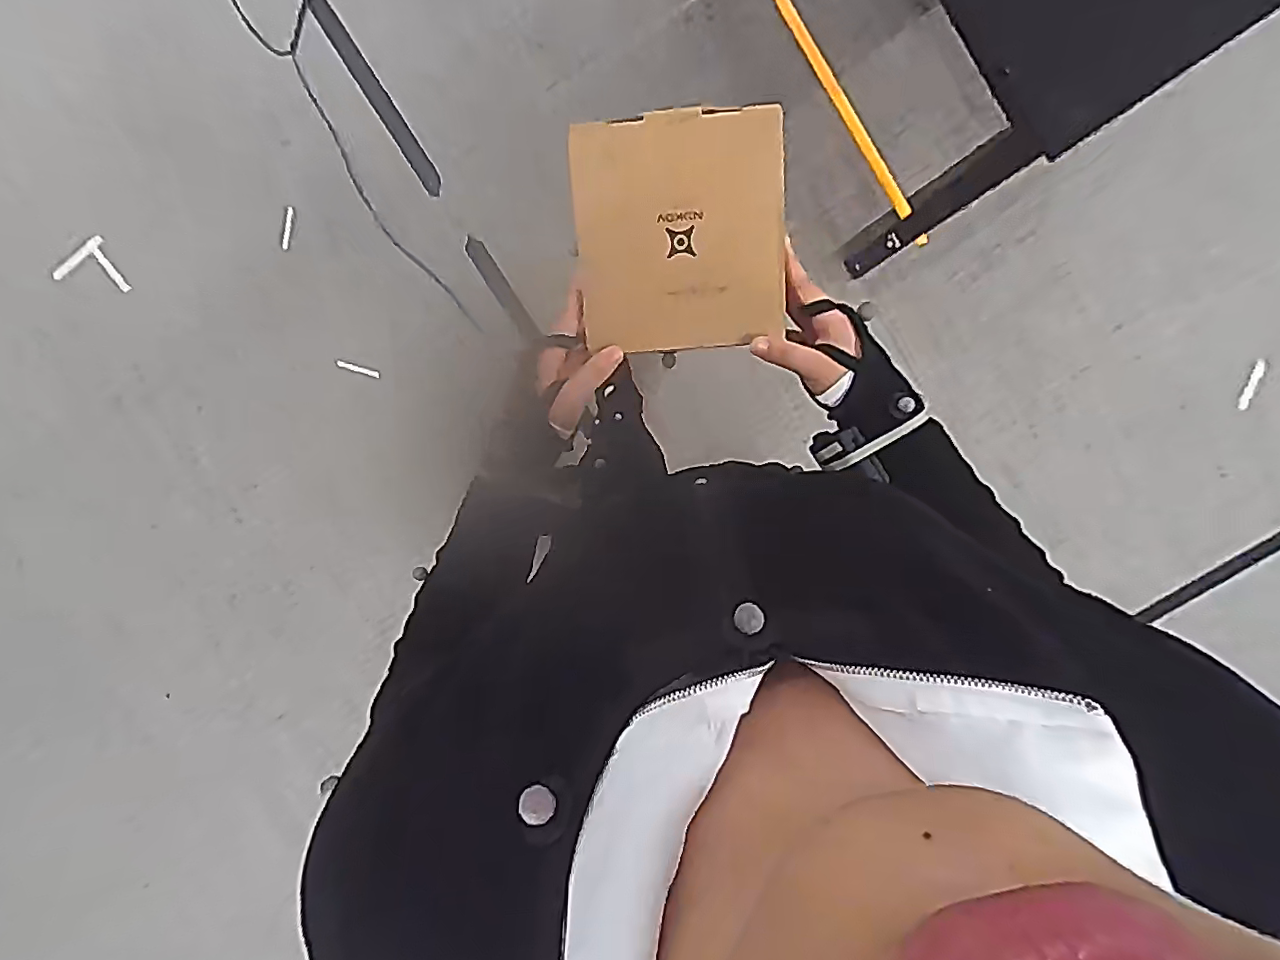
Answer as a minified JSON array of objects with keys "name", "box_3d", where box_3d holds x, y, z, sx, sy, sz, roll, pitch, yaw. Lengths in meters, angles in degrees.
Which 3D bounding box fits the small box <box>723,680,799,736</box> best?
[{"name":"small box","box_3d":[0.341,0.677,1.479,0.168,0.176,0.179,-31,95,6]}]

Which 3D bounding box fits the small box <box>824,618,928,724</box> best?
[{"name":"small box","box_3d":[0.616,0.502,1.443,0.179,0.176,0.168,-35,96,5]}]

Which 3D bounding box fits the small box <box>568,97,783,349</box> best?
[{"name":"small box","box_3d":[0.032,-0.217,0.504,0.168,0.176,0.179,-4,104,3]}]
